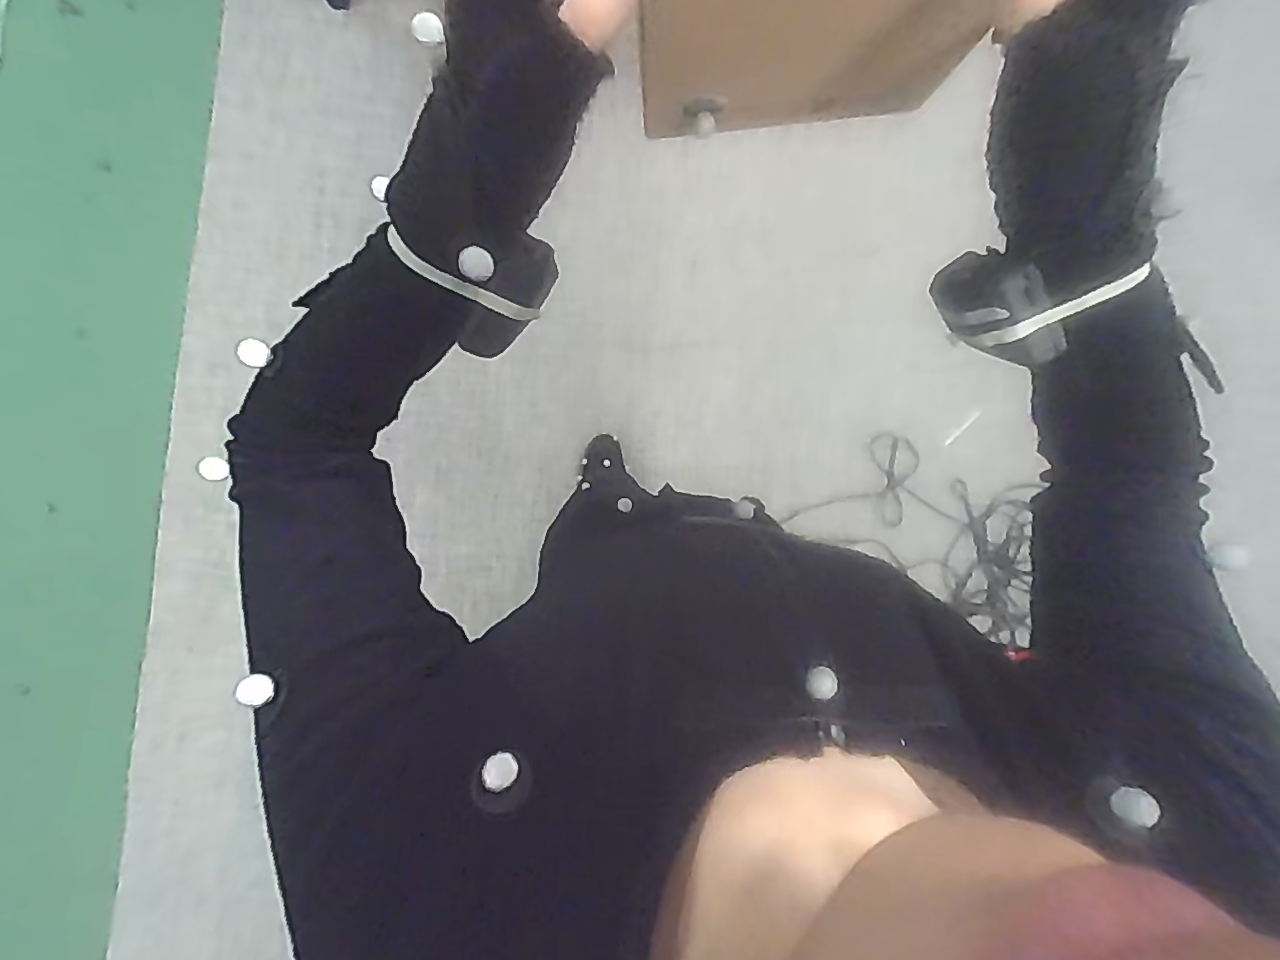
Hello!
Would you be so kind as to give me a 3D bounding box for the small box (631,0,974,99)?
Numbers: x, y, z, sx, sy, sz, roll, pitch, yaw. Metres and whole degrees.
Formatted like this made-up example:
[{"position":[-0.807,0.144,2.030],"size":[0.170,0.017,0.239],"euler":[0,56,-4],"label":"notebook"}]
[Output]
[{"position":[0.074,-0.295,0.227],"size":[0.168,0.176,0.179],"euler":[-5,96,2],"label":"small box"}]
